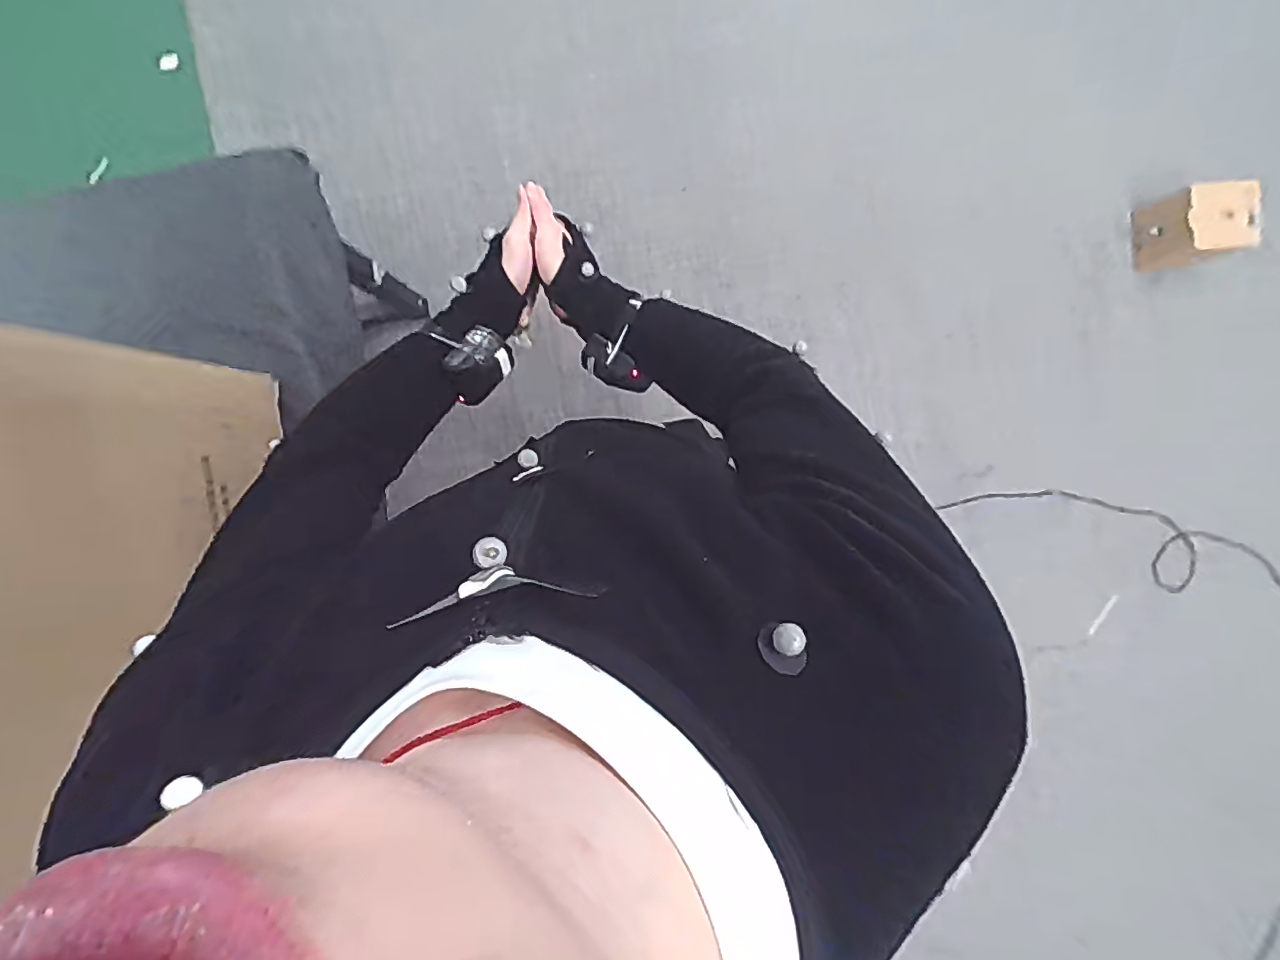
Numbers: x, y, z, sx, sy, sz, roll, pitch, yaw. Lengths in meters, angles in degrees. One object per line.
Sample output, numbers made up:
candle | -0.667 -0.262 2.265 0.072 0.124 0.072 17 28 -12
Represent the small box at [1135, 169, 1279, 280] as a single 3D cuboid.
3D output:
small box | 1.490 -0.667 1.435 0.168 0.176 0.179 -34 91 0
